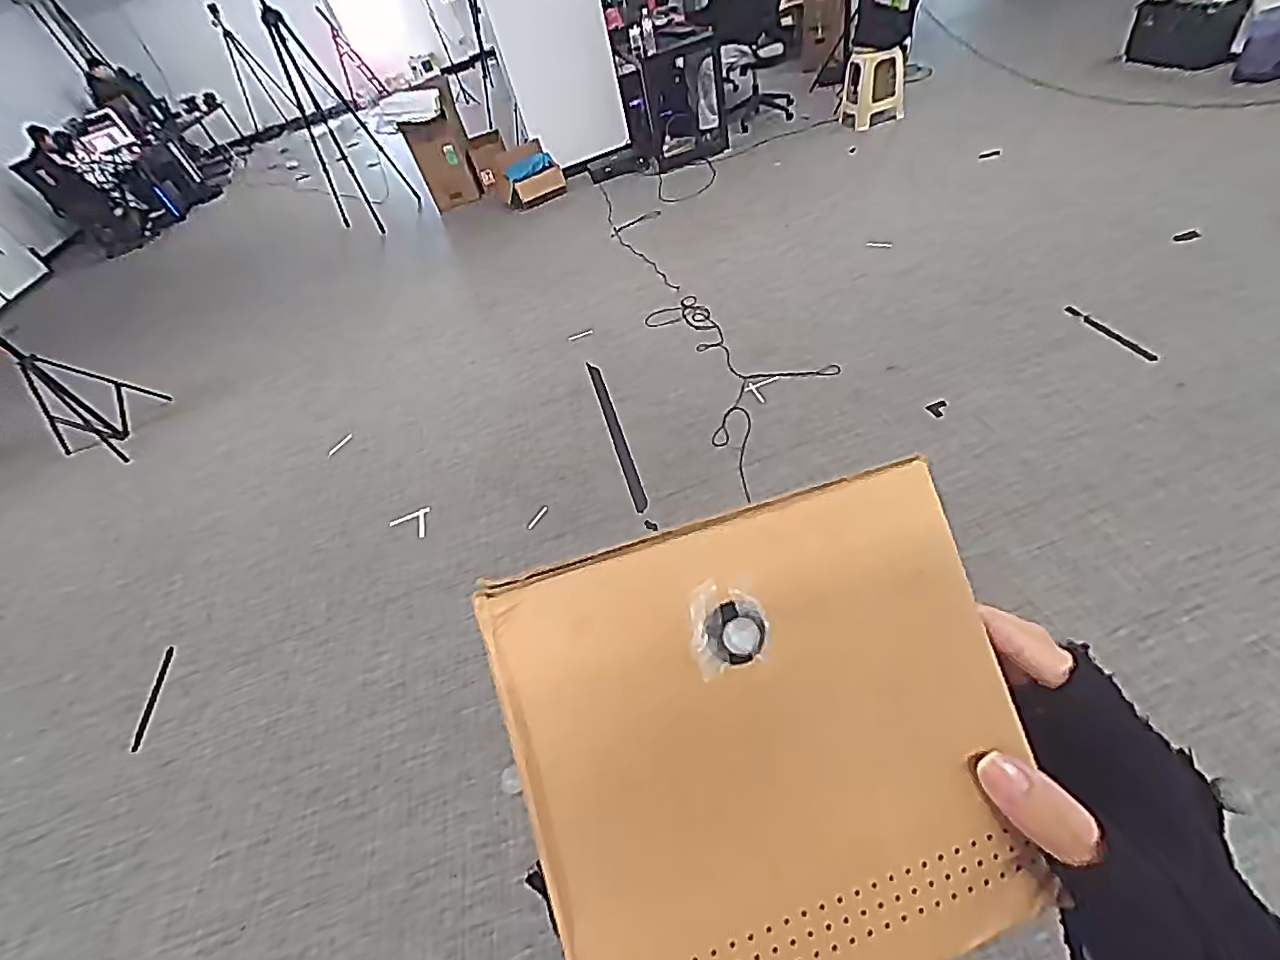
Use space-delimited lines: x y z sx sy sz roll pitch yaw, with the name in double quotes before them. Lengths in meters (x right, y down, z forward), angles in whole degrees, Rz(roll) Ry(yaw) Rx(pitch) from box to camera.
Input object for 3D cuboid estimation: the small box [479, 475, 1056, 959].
"small box" 0.043 0.112 0.263 0.179 0.168 0.176 -16 84 -7
